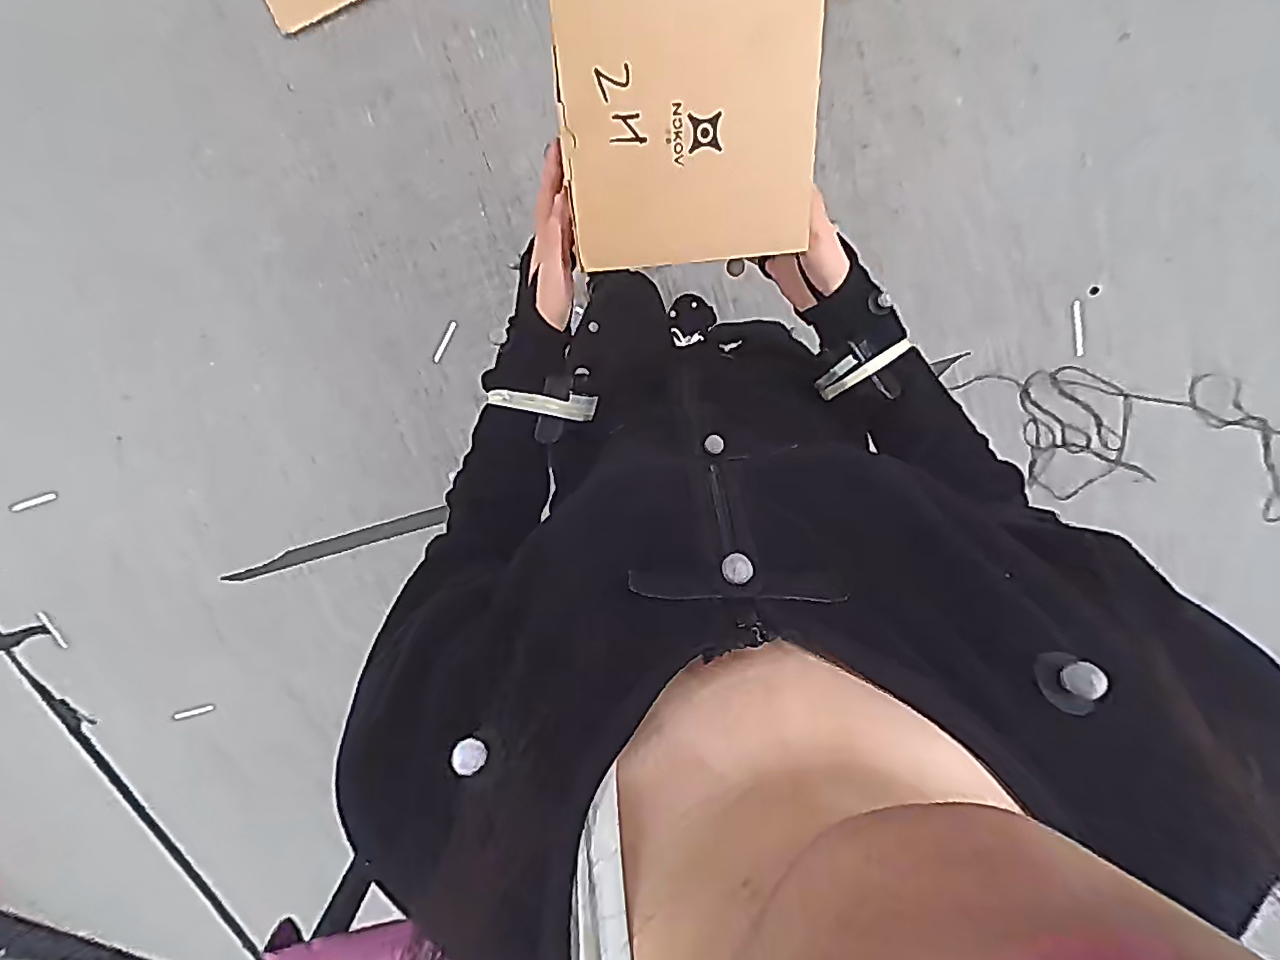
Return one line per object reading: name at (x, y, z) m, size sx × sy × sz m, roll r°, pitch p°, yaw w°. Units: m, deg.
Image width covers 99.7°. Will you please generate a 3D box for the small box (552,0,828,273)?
small box at (0.027, -0.269, 0.433) m, size 0.179 × 0.176 × 0.168 m, roll -7°, pitch 117°, yaw -4°
